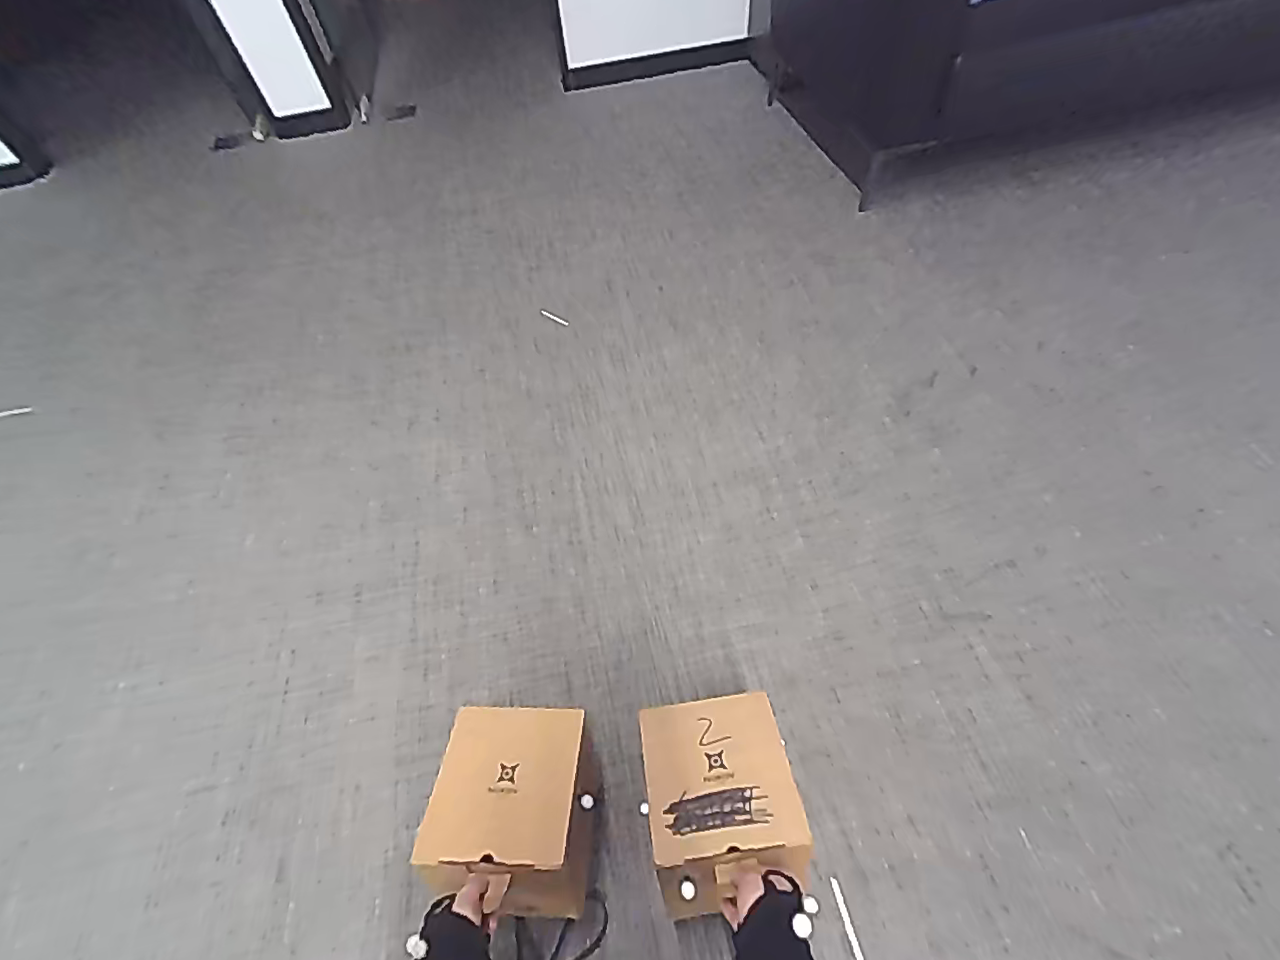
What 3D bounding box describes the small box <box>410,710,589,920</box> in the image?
[{"bbox_3d":[-0.160,0.421,0.686,0.168,0.176,0.179,1,38,4],"label":"small box"}]
